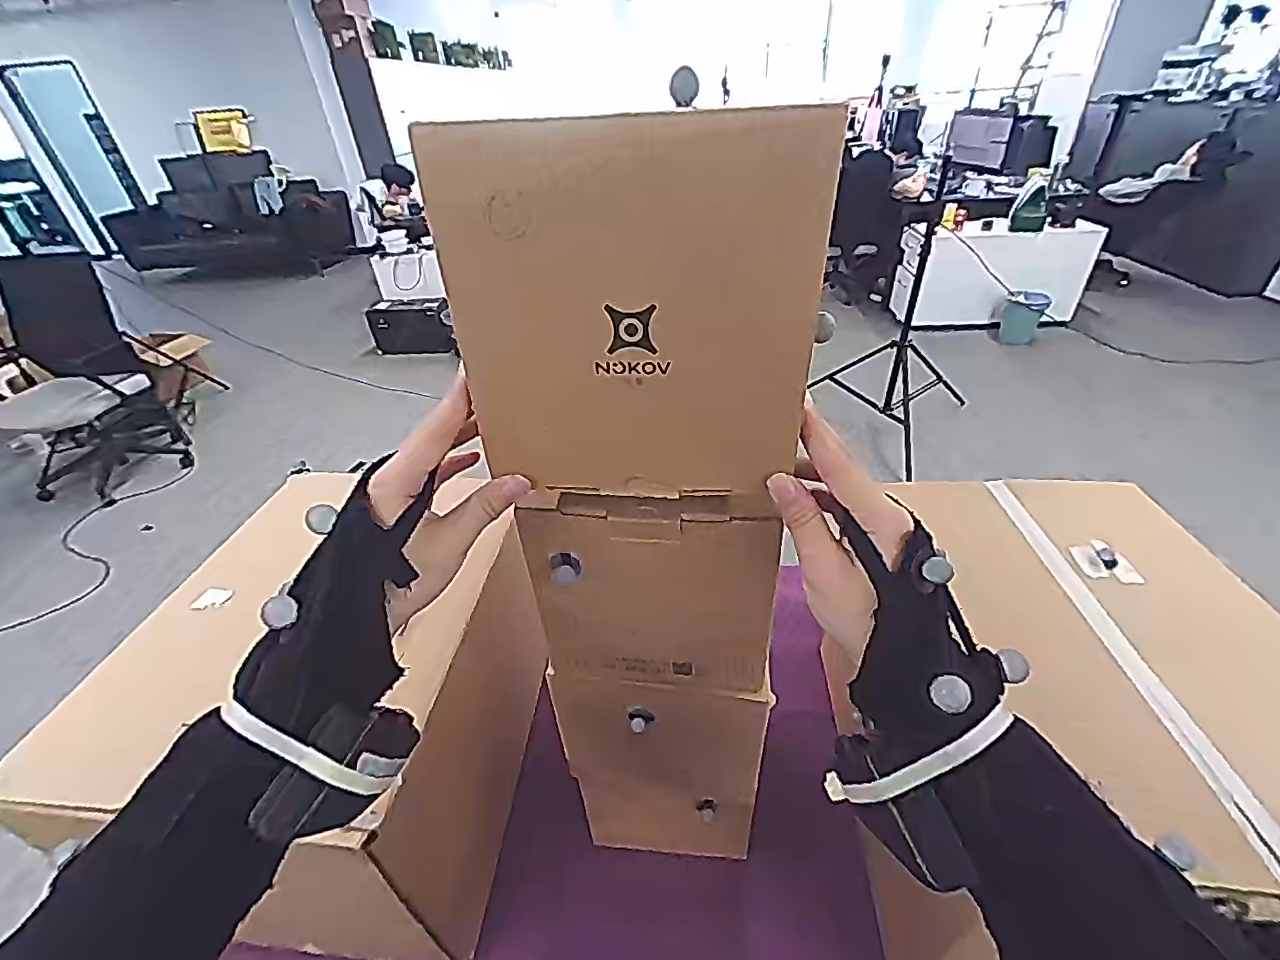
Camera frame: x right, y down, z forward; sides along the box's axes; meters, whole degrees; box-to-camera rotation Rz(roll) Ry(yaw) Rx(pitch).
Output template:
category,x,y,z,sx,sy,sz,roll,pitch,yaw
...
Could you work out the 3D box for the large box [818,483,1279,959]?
category,x,y,z,sx,sy,sz,roll,pitch,yaw
large box,0.392,0.244,0.553,0.320,0.320,0.408,0,34,5
